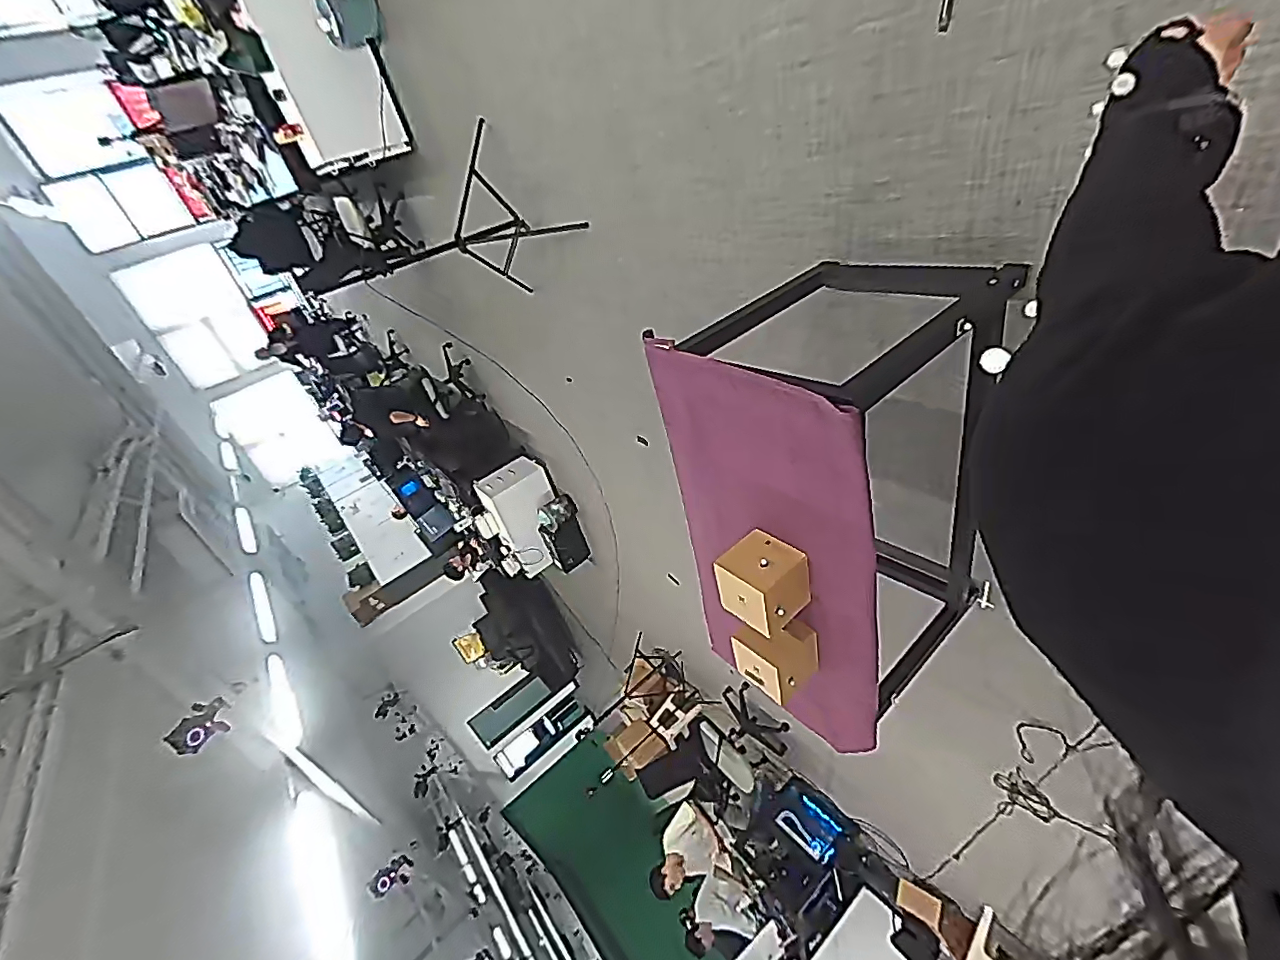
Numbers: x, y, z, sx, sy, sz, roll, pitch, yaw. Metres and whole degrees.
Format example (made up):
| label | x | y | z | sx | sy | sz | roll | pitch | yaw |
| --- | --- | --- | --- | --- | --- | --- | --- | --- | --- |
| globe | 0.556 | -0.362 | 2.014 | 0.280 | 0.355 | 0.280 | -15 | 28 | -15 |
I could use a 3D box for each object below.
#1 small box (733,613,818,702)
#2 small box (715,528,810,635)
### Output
| label | x | y | z | sx | sy | sz | roll | pitch | yaw |
| --- | --- | --- | --- | --- | --- | --- | --- | --- | --- |
| small box | 0.391 | 0.483 | 1.543 | 0.168 | 0.176 | 0.179 | 28 | 143 | 46 |
| small box | 0.320 | 0.253 | 1.391 | 0.168 | 0.176 | 0.179 | 29 | 145 | 46 |
